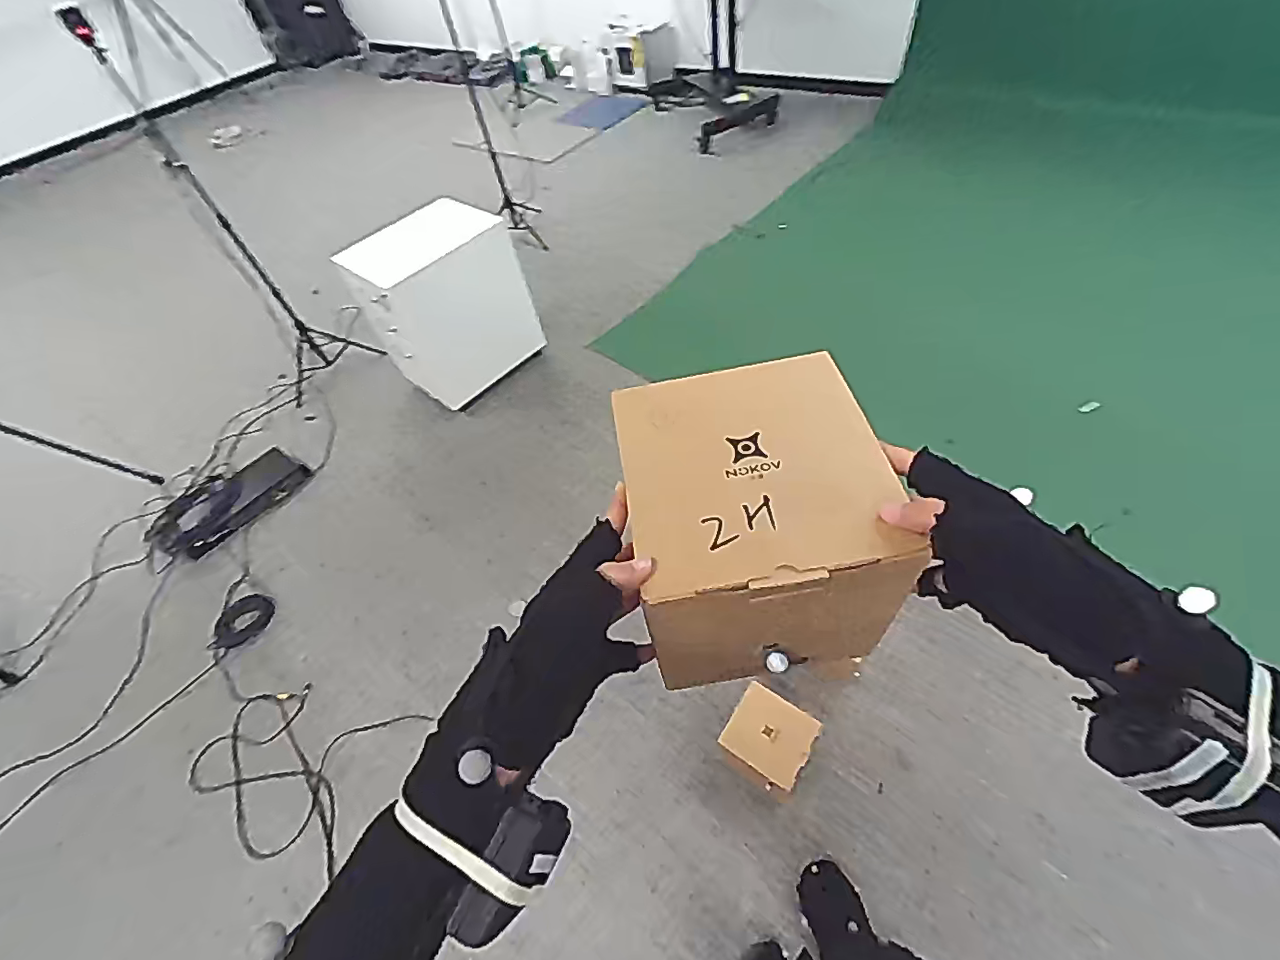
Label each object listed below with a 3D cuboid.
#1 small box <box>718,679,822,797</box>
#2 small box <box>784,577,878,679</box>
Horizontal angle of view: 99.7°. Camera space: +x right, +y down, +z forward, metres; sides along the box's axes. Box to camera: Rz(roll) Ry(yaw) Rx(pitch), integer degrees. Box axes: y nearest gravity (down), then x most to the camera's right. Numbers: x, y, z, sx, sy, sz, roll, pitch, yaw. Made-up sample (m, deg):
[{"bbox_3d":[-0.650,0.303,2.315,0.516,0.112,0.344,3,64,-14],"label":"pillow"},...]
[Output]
[{"bbox_3d":[0.295,0.600,1.249,0.179,0.176,0.168,26,61,26],"label":"small box"},{"bbox_3d":[0.484,0.385,1.388,0.179,0.176,0.168,21,57,25],"label":"small box"}]
